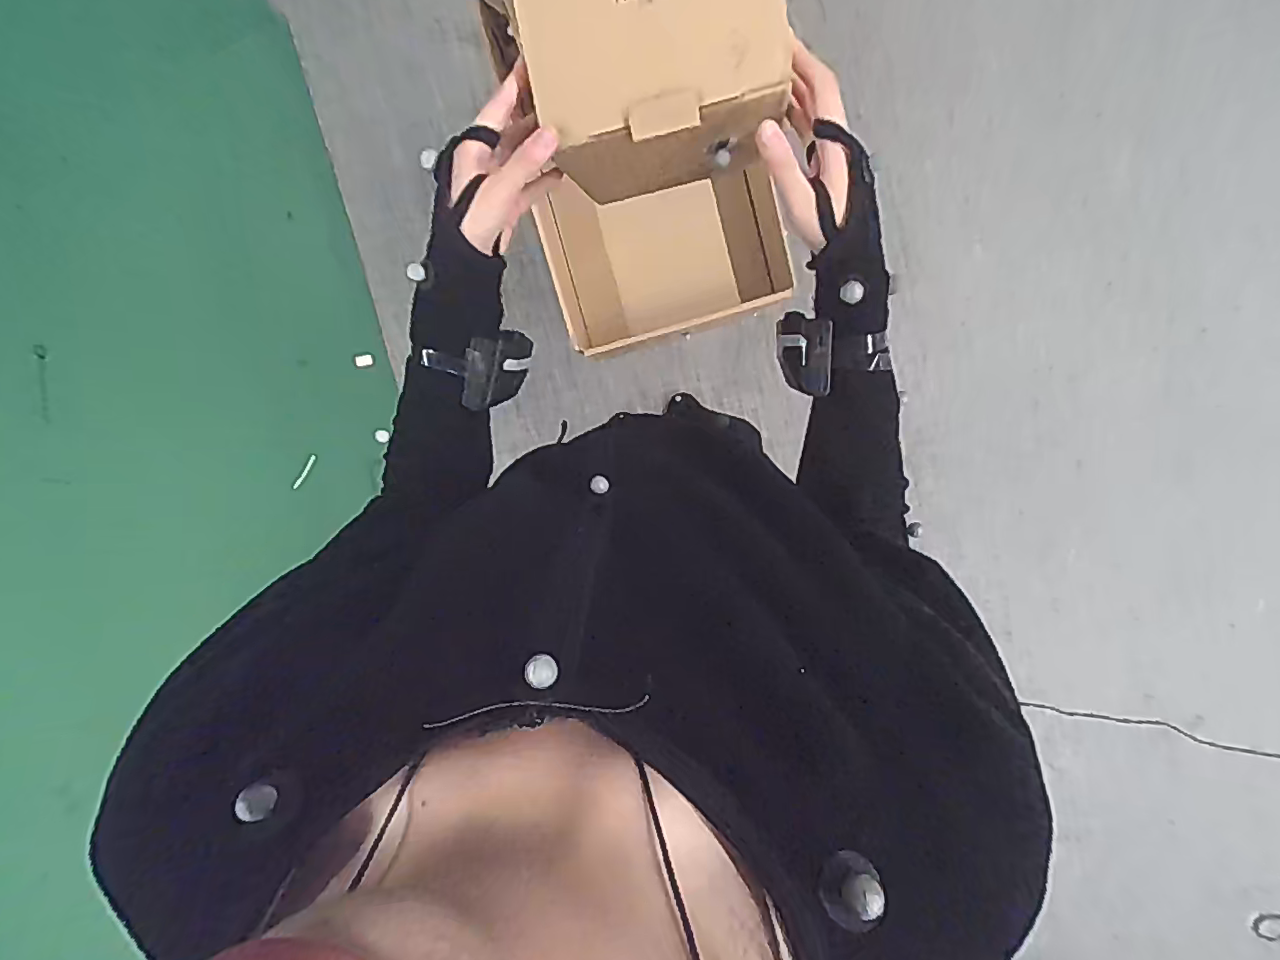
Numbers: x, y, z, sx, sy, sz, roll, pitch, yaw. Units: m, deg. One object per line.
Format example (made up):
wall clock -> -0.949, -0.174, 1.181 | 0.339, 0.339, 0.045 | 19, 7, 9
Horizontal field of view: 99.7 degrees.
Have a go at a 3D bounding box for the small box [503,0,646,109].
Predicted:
small box -> -0.096, -0.678, 0.765 | 0.179, 0.176, 0.168 | -19, 96, 7

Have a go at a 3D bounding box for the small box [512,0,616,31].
small box -> -0.104, -0.667, 0.600 | 0.168, 0.176, 0.179 | -17, 97, 7
